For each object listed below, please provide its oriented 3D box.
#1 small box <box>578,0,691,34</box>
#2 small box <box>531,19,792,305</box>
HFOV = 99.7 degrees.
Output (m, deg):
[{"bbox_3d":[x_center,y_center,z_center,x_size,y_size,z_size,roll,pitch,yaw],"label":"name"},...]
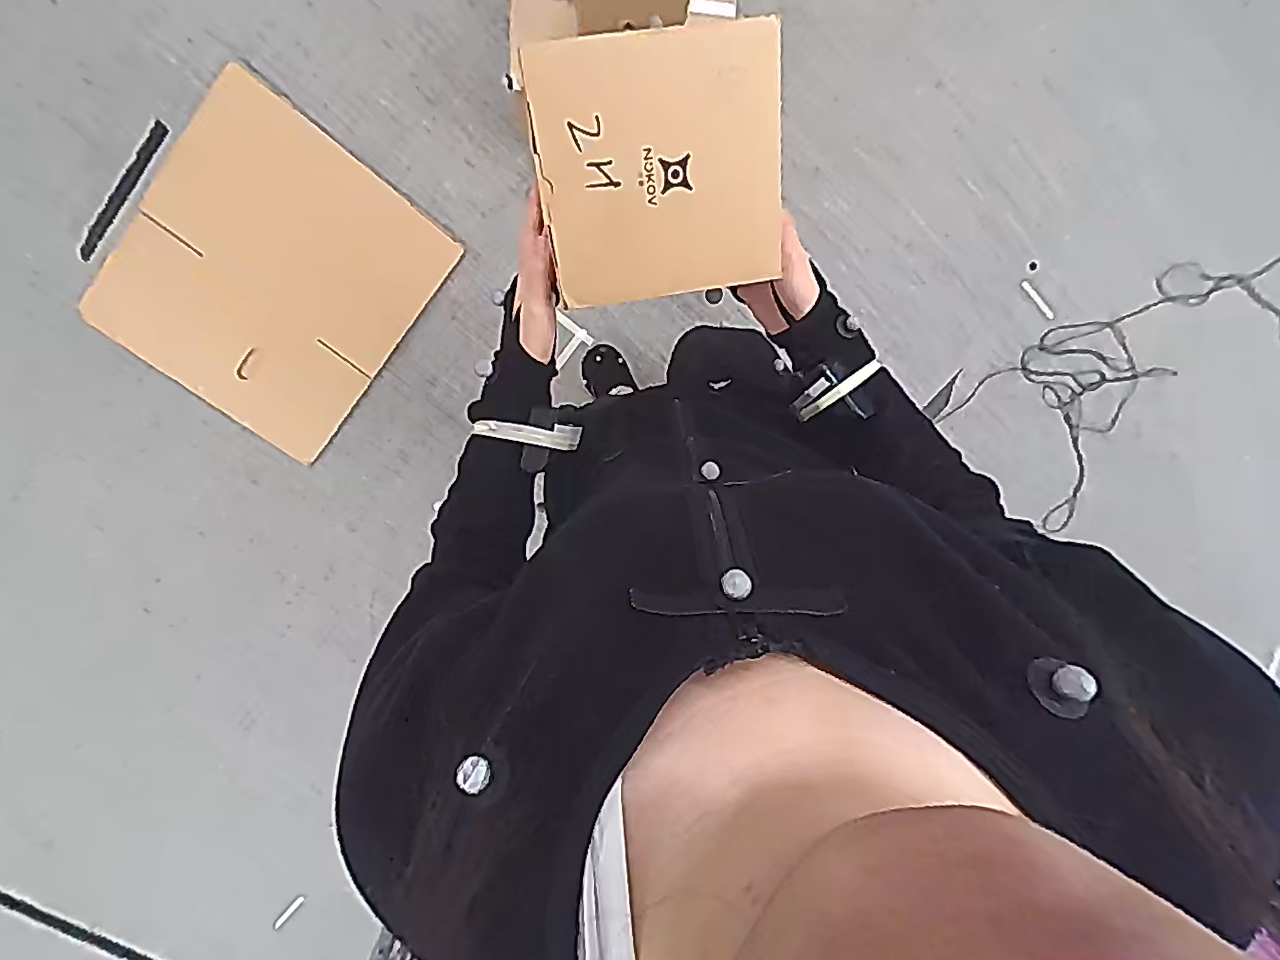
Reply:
[{"bbox_3d":[-0.014,-0.818,0.890,0.179,0.176,0.168,-1,106,-6],"label":"small box"},{"bbox_3d":[0.011,-0.251,0.452,0.179,0.176,0.168,-9,116,-4],"label":"small box"}]
